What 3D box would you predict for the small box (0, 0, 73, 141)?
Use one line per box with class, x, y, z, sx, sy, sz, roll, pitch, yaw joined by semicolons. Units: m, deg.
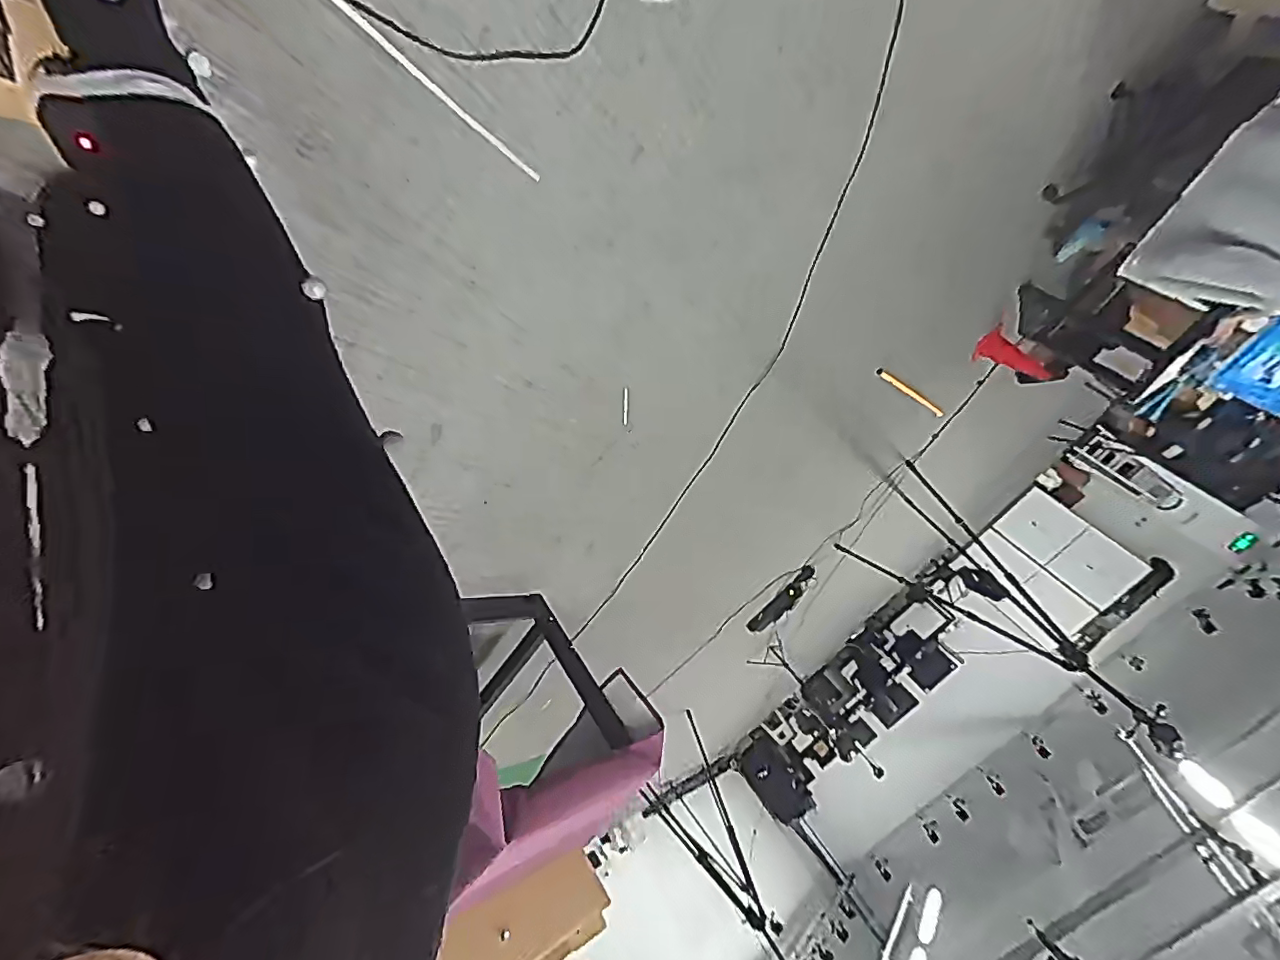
small box;-0.529;-0.386;0.376;0.179;0.176;0.168;-3;138;-45
